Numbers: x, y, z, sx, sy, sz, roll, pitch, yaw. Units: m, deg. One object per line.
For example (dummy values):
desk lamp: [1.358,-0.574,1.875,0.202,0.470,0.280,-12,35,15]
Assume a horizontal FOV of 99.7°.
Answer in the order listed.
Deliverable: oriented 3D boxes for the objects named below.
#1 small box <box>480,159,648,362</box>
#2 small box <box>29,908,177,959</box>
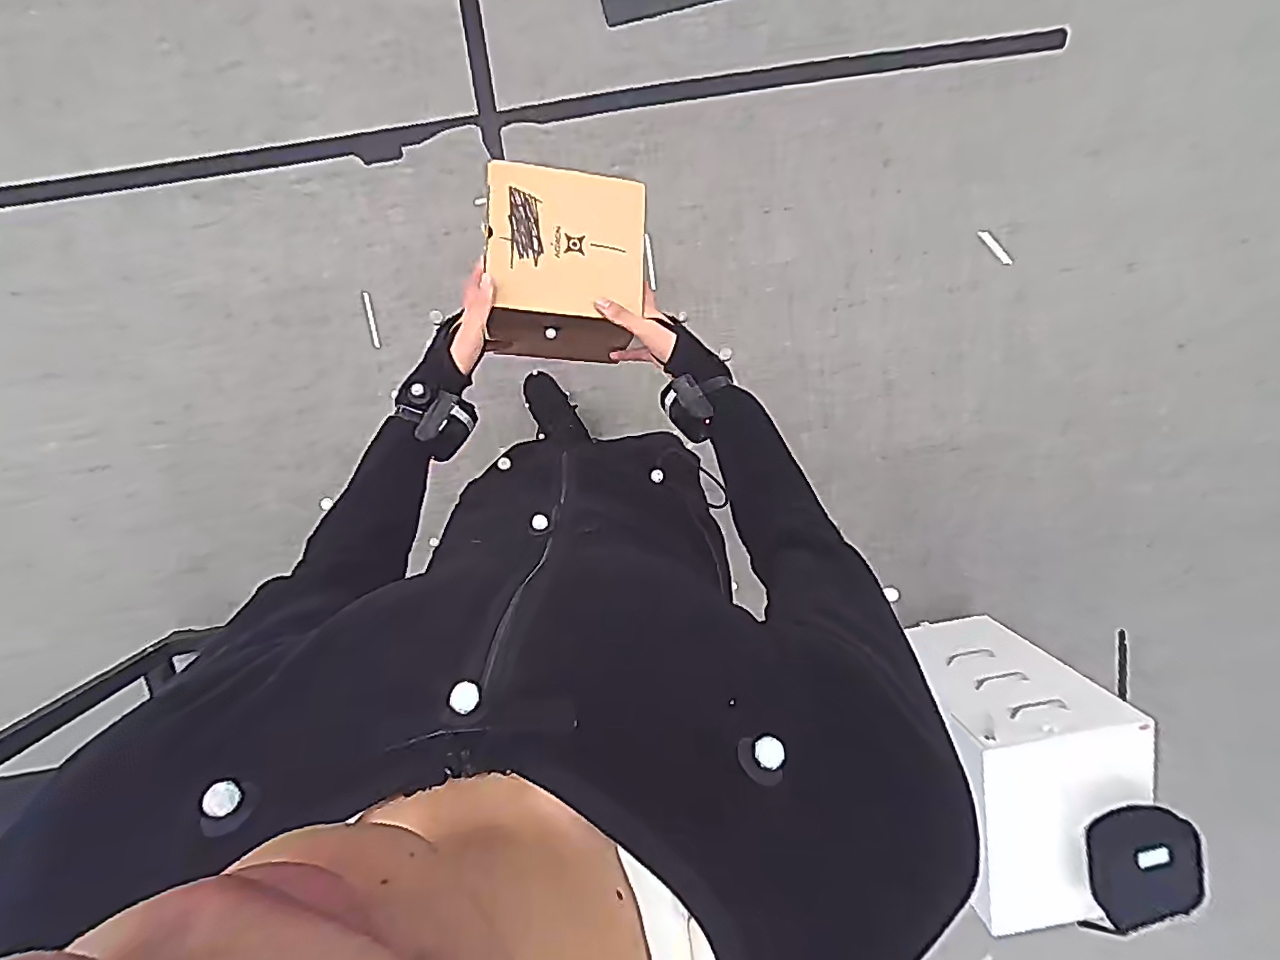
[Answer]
small box: [-0.095,-0.252,0.663,0.179,0.176,0.168,3,85,-12]
small box: [-0.950,0.883,0.921,0.179,0.176,0.168,-9,101,-2]
